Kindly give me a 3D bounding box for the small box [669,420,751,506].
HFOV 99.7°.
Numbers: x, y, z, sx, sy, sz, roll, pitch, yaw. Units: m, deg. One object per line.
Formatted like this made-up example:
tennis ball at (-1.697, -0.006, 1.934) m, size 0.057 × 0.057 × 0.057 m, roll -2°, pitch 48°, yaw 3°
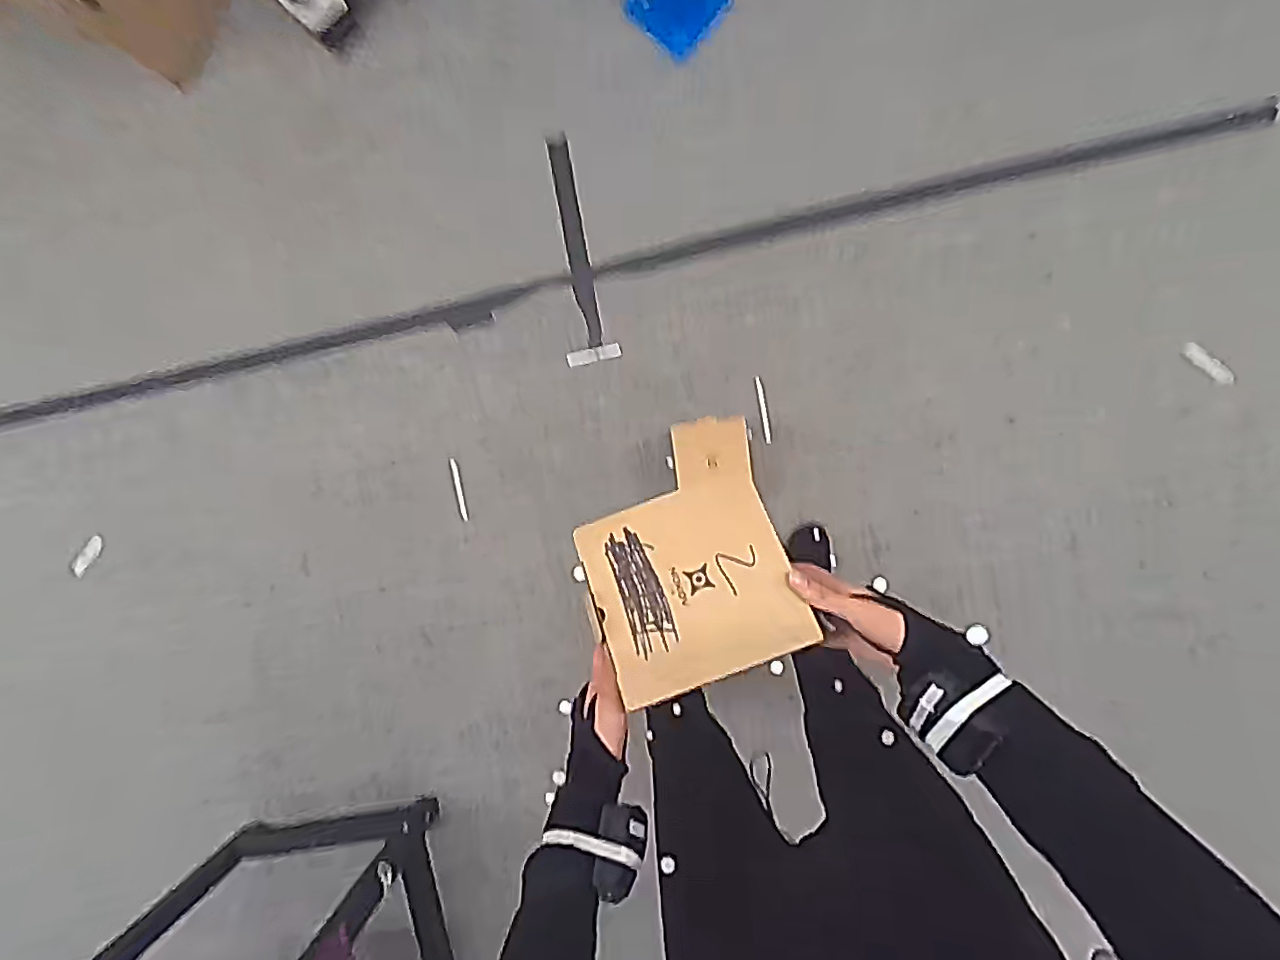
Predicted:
small box at (0.162, -0.043, 1.265) m, size 0.168 × 0.176 × 0.179 m, roll -7°, pitch 93°, yaw 5°
